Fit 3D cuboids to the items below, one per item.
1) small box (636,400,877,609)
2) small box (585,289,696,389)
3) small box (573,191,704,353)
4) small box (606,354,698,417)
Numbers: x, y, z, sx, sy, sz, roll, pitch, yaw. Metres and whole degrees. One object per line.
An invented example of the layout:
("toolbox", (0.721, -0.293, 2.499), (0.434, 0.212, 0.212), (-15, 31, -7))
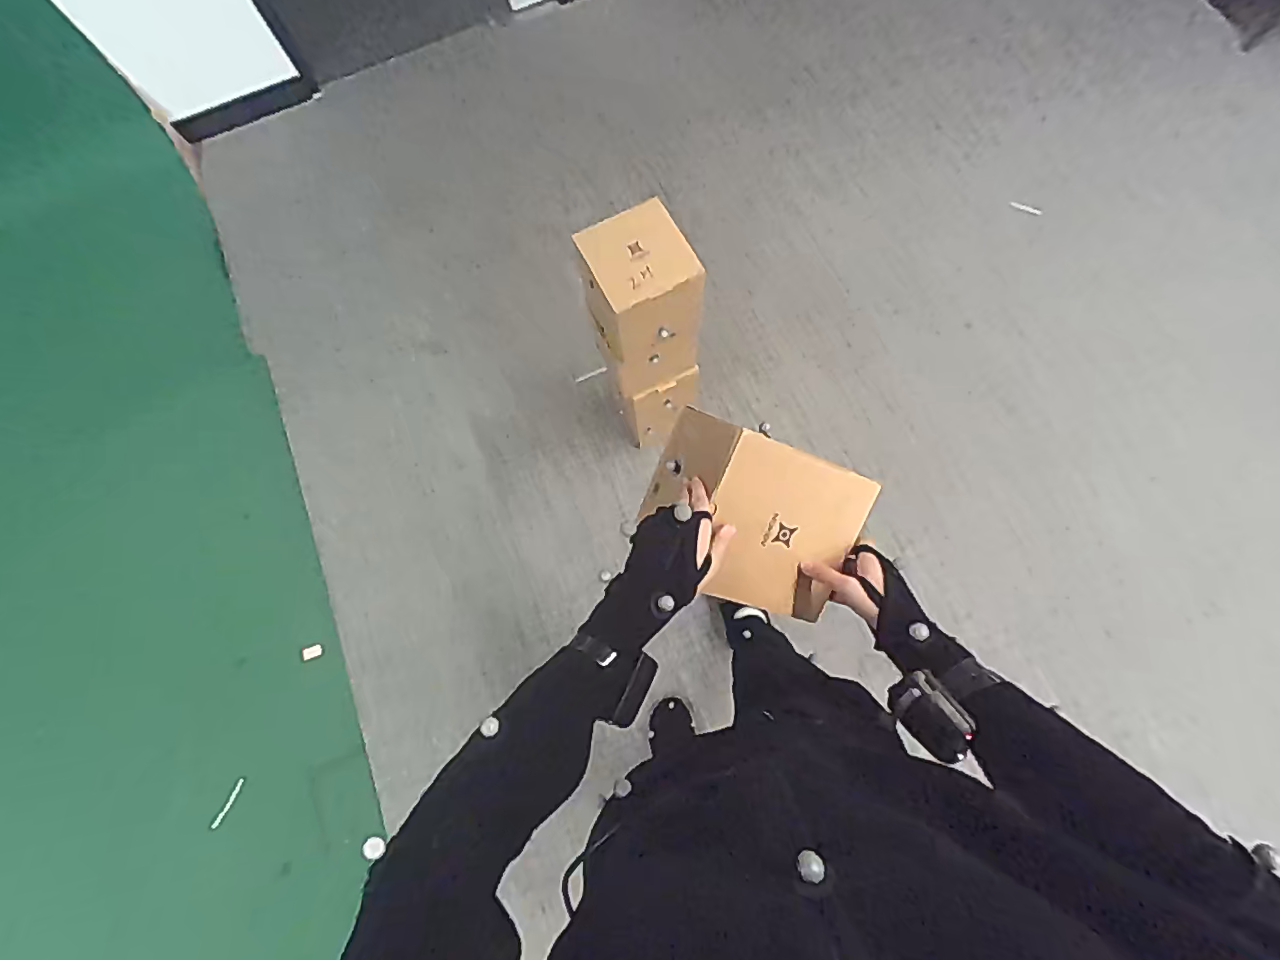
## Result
("small box", (0.117, 0.019, 0.611), (0.179, 0.176, 0.168), (18, 100, -19))
("small box", (0.007, -0.315, 1.120), (0.179, 0.176, 0.168), (-25, 74, -4))
("small box", (-0.001, -0.360, 0.962), (0.168, 0.176, 0.179), (-26, 74, -4))
("small box", (0.026, -0.269, 1.277), (0.168, 0.176, 0.179), (-26, 75, -4))
